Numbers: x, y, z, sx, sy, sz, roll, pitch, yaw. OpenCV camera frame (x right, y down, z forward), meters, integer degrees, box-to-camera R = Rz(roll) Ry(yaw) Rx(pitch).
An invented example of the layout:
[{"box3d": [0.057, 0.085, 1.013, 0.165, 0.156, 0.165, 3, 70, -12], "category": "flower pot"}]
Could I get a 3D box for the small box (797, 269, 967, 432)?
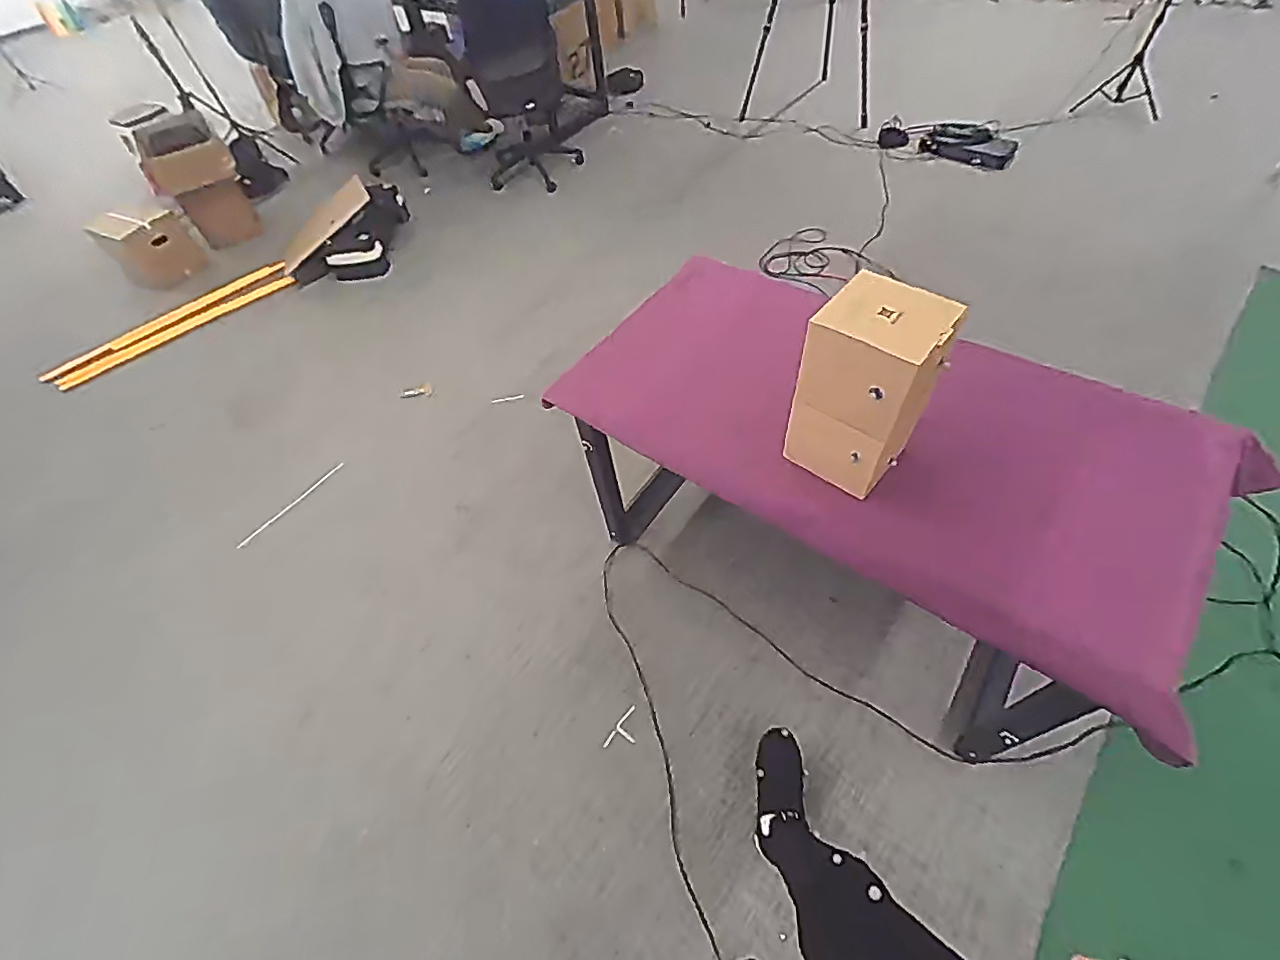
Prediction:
[{"box3d": [0.379, -0.203, 0.876, 0.179, 0.176, 0.168, 34, 64, 27], "category": "small box"}]
